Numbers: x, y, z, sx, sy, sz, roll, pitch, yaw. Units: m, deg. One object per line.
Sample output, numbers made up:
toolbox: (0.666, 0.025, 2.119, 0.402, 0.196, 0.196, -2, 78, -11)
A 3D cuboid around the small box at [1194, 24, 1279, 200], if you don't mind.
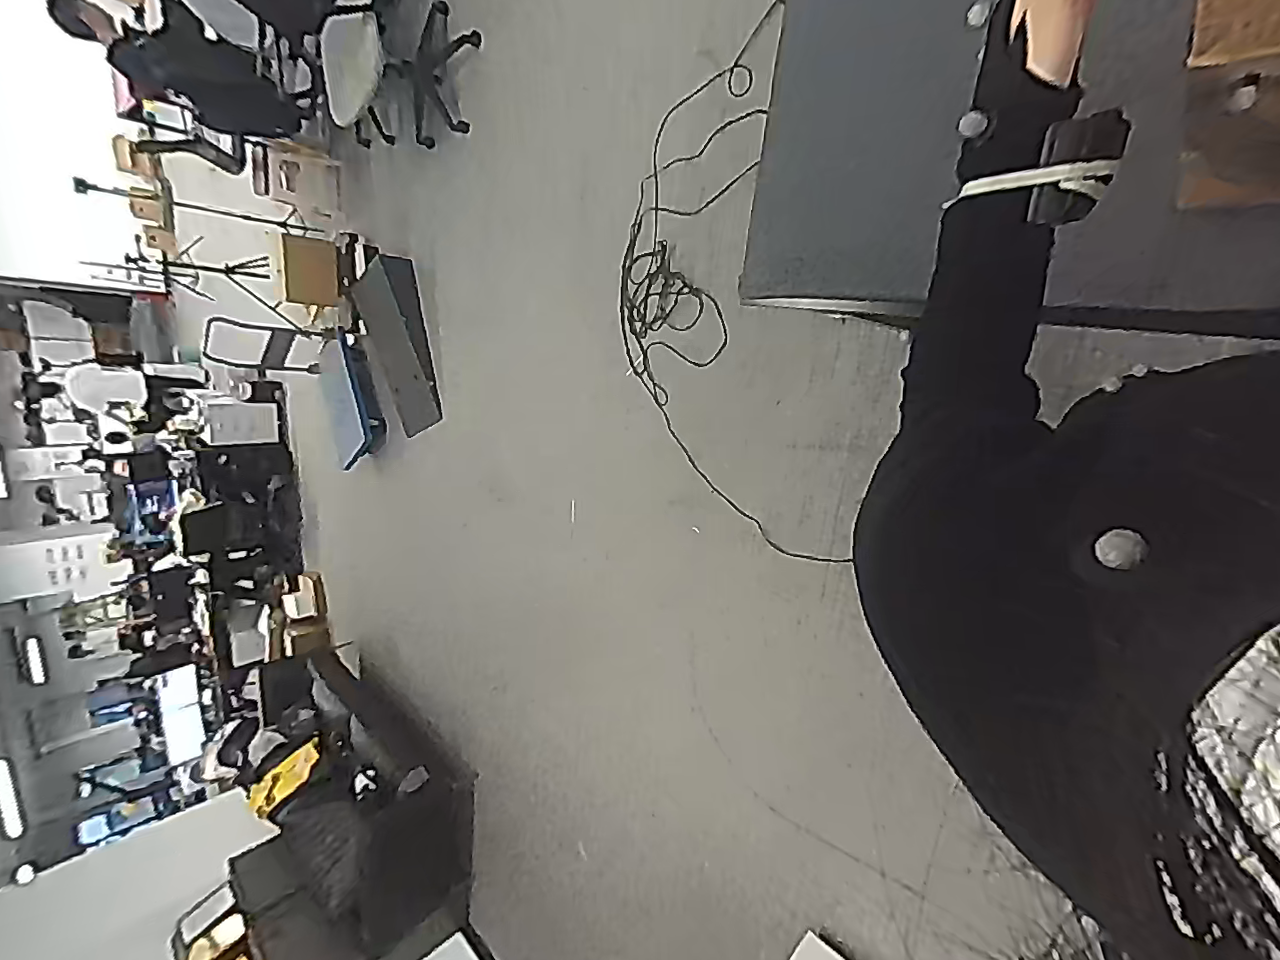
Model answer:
small box: (0.560, -0.341, 0.413, 0.168, 0.176, 0.179, 15, 106, 42)
